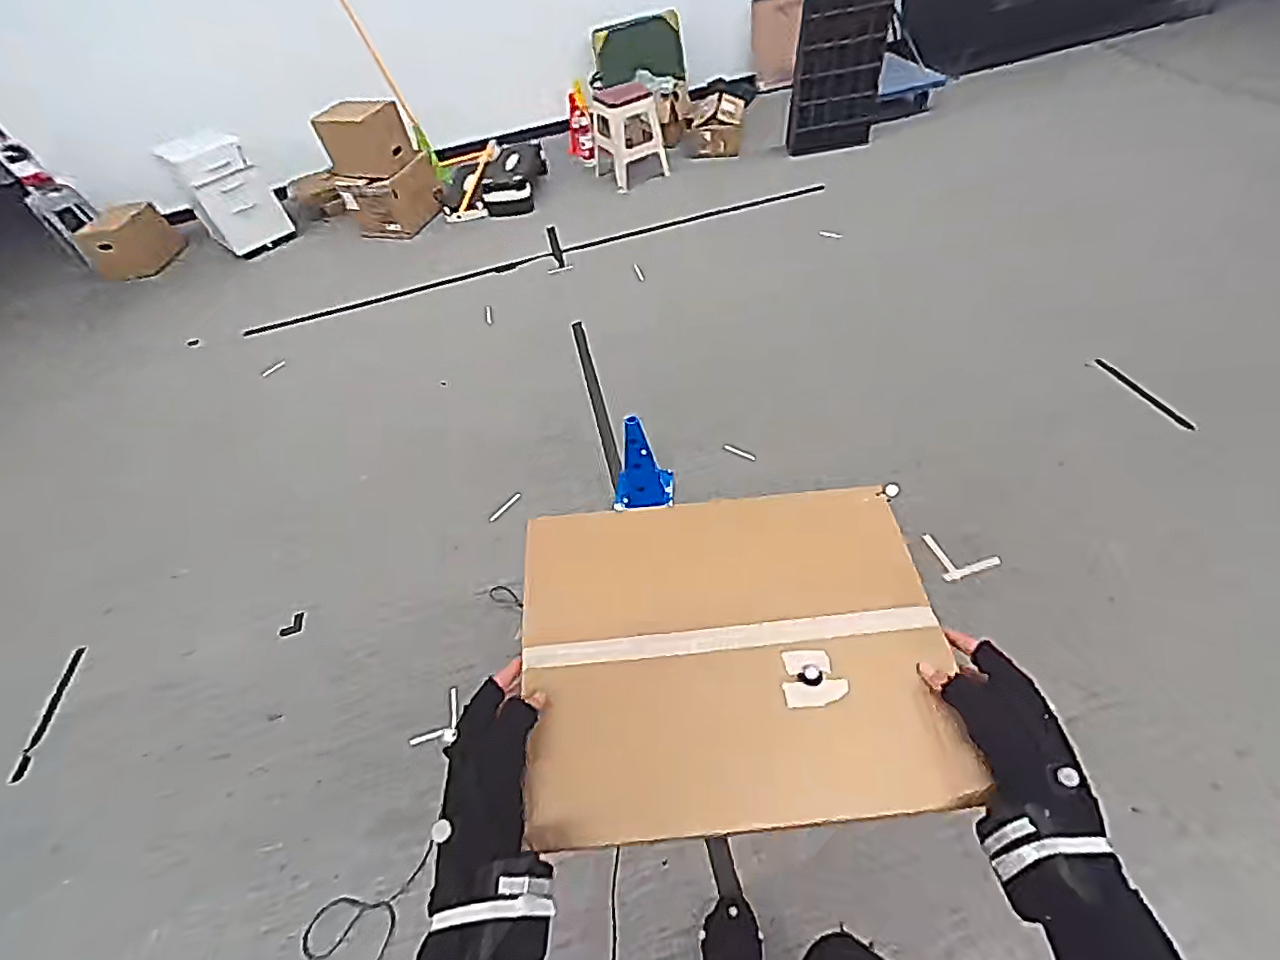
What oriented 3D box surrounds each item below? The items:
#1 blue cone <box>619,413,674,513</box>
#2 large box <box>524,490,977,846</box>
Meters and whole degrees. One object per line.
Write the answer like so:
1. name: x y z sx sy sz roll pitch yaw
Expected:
1. blue cone: 0.002 -0.066 1.779 0.193 0.380 0.192 1 51 10
2. large box: 0.087 0.242 0.667 0.408 0.320 0.320 -6 57 -1
